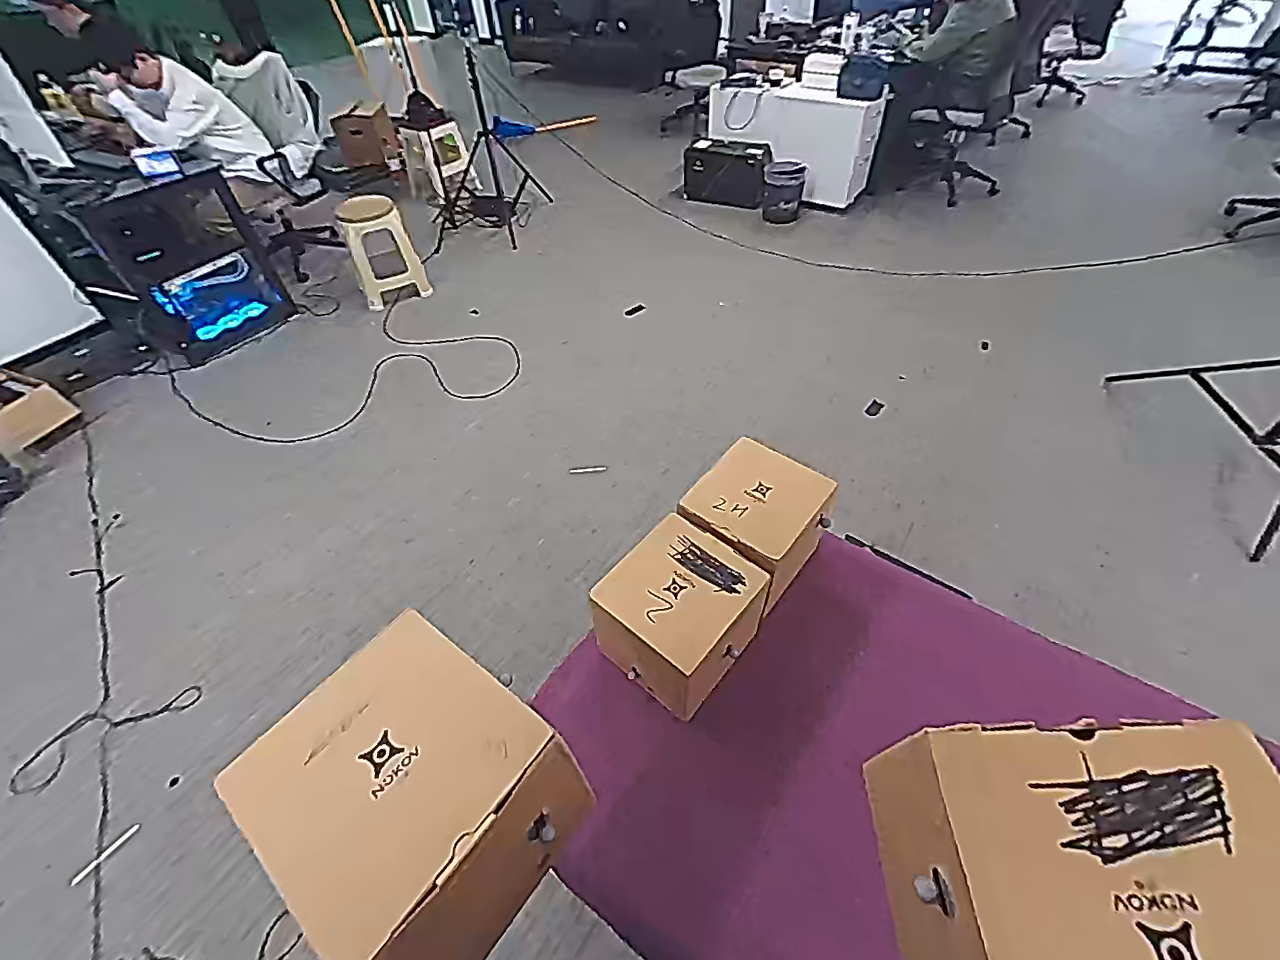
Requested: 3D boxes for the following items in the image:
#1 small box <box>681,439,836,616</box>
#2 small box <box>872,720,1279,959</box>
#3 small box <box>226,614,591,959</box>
[{"bbox_3d":[0.174,0.074,0.841,0.168,0.176,0.179,30,56,27],"label":"small box"},{"bbox_3d":[0.253,0.252,0.318,0.168,0.176,0.179,-4,56,6],"label":"small box"},{"bbox_3d":[-0.159,0.247,0.425,0.179,0.176,0.168,25,53,29],"label":"small box"}]
